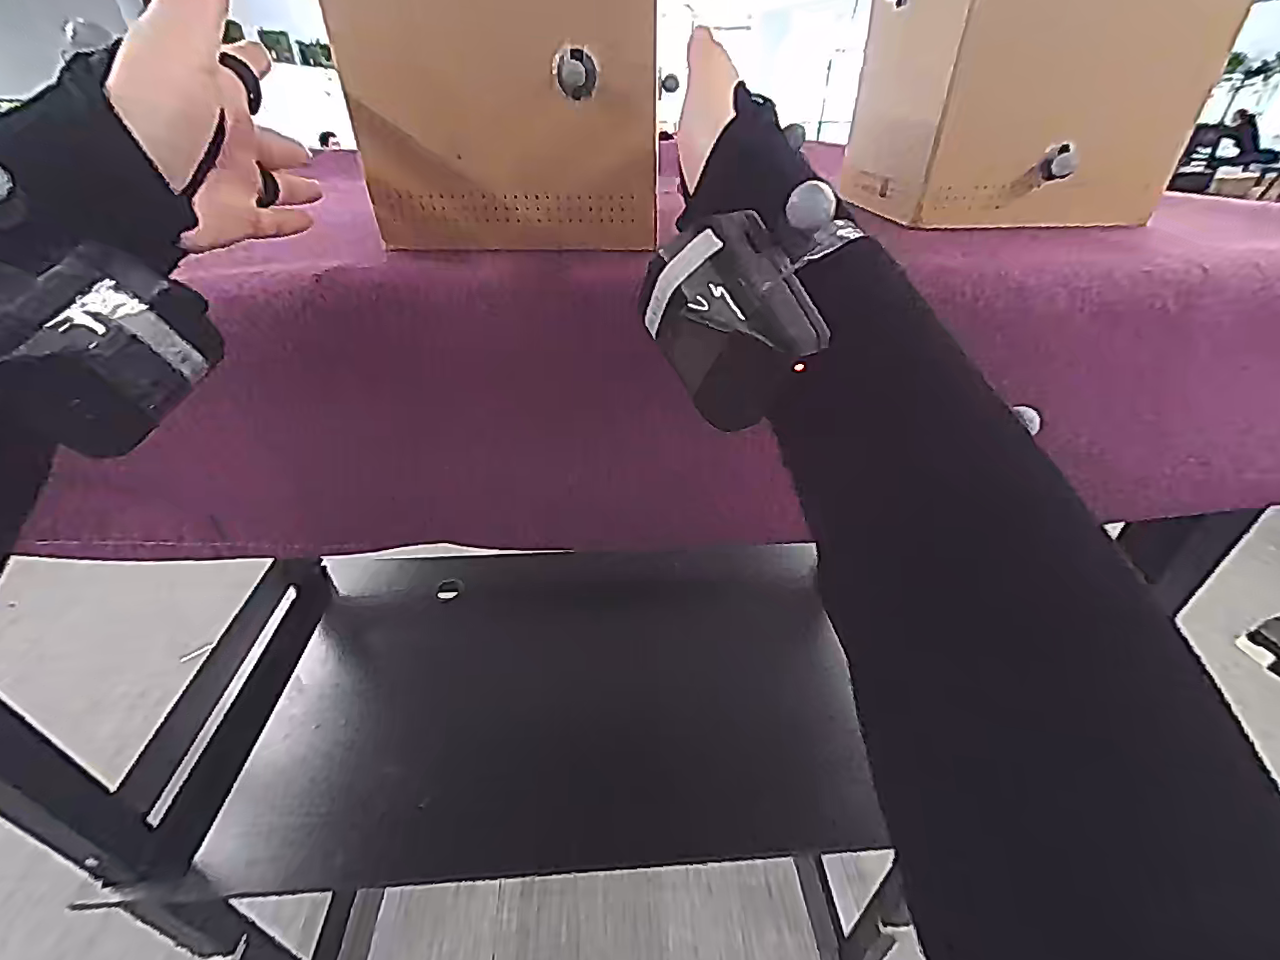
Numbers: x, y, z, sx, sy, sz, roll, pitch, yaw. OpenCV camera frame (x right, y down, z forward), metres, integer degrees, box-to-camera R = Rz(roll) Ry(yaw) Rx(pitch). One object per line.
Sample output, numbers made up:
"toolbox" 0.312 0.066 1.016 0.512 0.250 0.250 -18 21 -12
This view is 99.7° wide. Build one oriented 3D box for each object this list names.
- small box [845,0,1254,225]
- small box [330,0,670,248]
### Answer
"small box" 0.280 -0.297 0.406 0.179 0.176 0.168 -1 34 -2
"small box" -0.069 -0.259 0.358 0.179 0.176 0.168 1 34 2
